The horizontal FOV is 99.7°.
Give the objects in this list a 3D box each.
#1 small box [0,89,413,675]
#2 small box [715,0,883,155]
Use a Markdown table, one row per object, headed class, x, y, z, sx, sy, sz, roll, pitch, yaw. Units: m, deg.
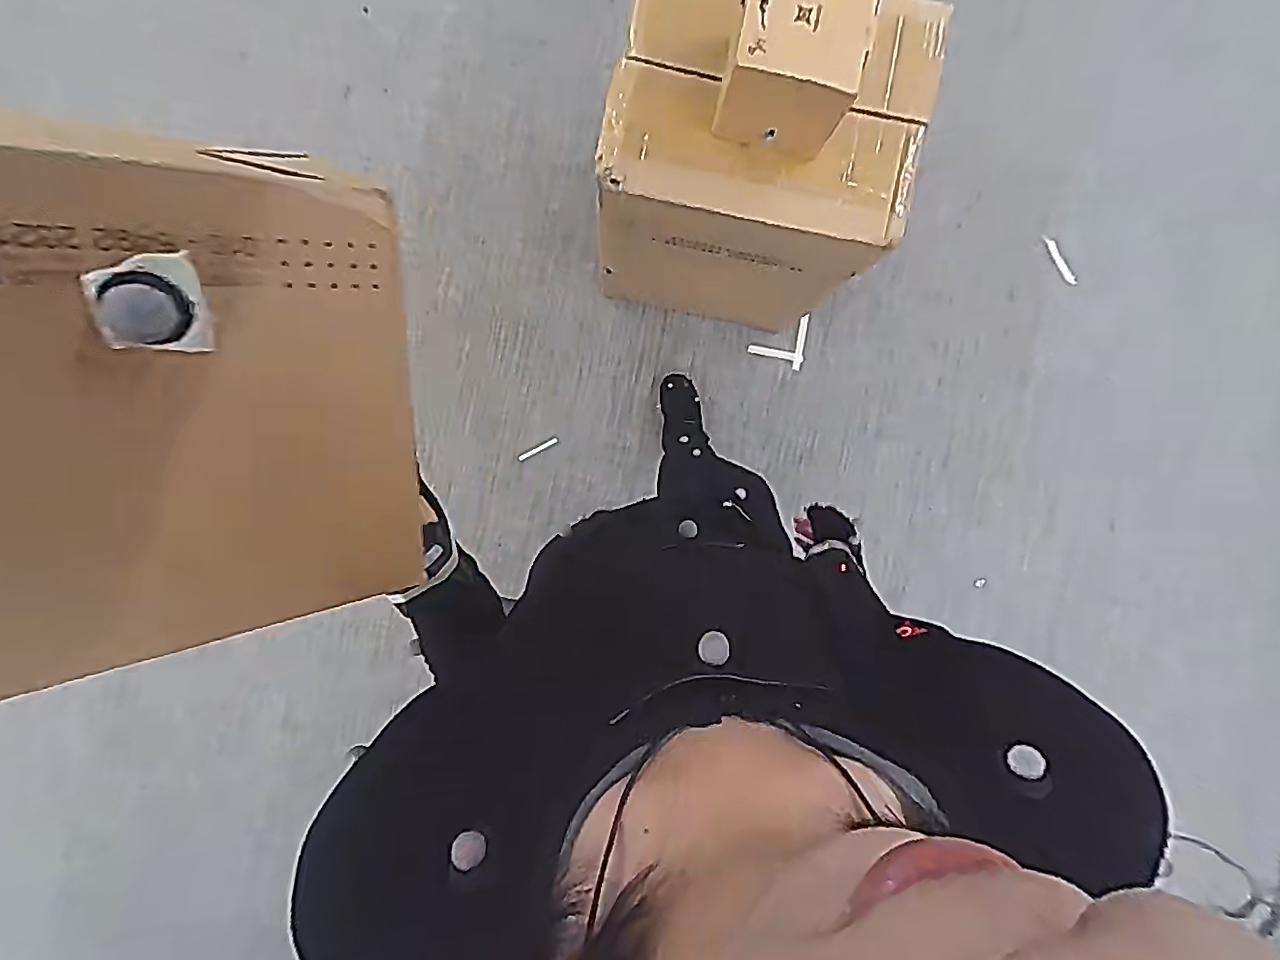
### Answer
| class | x | y | z | sx | sy | sz | roll | pitch | yaw |
| --- | --- | --- | --- | --- | --- | --- | --- | --- | --- |
| small box | -0.206 | -0.056 | 0.222 | 0.168 | 0.179 | 0.176 | -13 | 125 | -32 |
| small box | 0.223 | -0.614 | 0.793 | 0.179 | 0.176 | 0.168 | 12 | 92 | -3 |
